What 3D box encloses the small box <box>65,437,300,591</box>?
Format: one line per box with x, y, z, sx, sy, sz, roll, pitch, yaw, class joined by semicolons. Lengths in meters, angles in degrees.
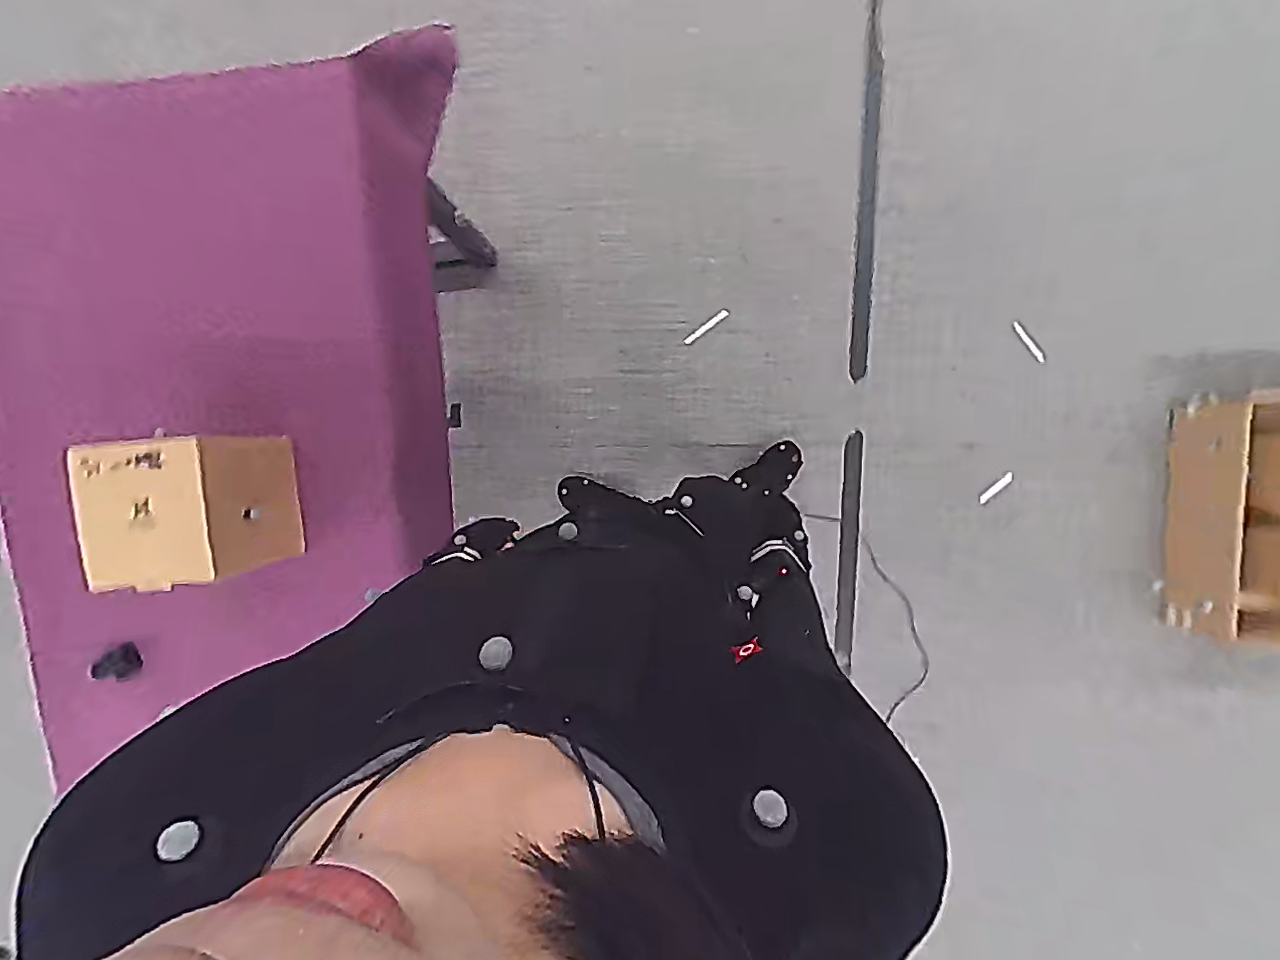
-0.589;0.037;0.723;0.168;0.176;0.179;-5;95;3;small box

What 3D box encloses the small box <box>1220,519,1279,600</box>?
1.598;0.194;1.335;0.168;0.176;0.179;-2;92;2;small box
